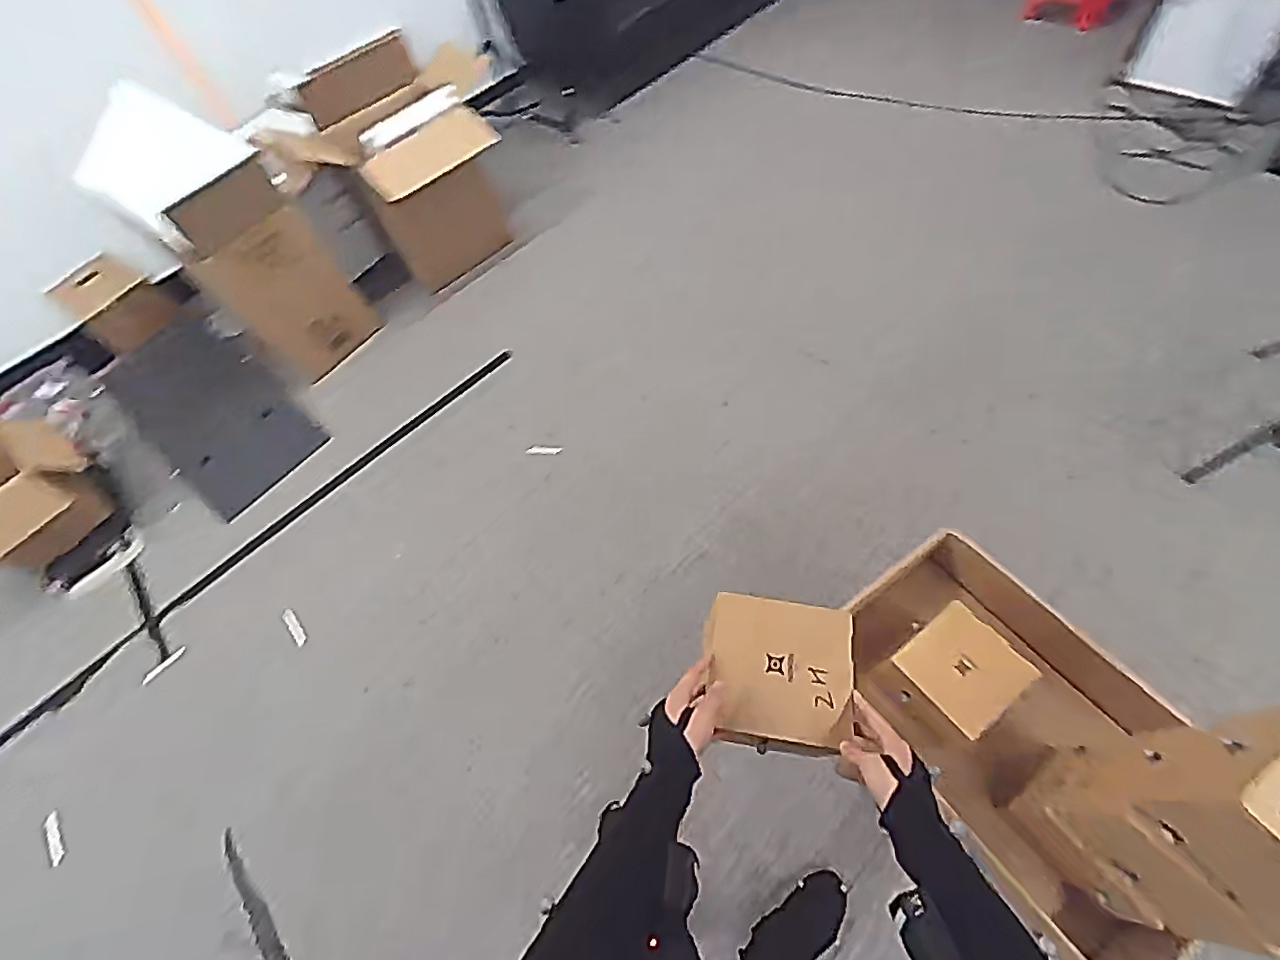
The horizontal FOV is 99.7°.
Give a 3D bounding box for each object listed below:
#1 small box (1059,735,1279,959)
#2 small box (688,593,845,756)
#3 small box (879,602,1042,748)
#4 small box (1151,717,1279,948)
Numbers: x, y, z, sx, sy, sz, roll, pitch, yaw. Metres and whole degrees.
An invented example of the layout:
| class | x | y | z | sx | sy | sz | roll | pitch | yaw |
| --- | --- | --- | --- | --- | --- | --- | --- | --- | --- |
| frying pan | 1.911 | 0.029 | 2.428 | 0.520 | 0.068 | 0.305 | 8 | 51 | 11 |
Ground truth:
| class | x | y | z | sx | sy | sz | roll | pitch | yaw |
| --- | --- | --- | --- | --- | --- | --- | --- | --- | --- |
| small box | 0.710 | 0.461 | 0.697 | 0.168 | 0.176 | 0.179 | -35 | 61 | -12 |
| small box | 0.161 | 0.266 | 0.724 | 0.179 | 0.176 | 0.168 | 8 | 62 | 5 |
| small box | 0.561 | 0.358 | 0.979 | 0.179 | 0.176 | 0.168 | -34 | 60 | -13 |
| small box | 0.700 | 0.367 | 0.560 | 0.179 | 0.176 | 0.168 | -31 | 60 | -11 |
